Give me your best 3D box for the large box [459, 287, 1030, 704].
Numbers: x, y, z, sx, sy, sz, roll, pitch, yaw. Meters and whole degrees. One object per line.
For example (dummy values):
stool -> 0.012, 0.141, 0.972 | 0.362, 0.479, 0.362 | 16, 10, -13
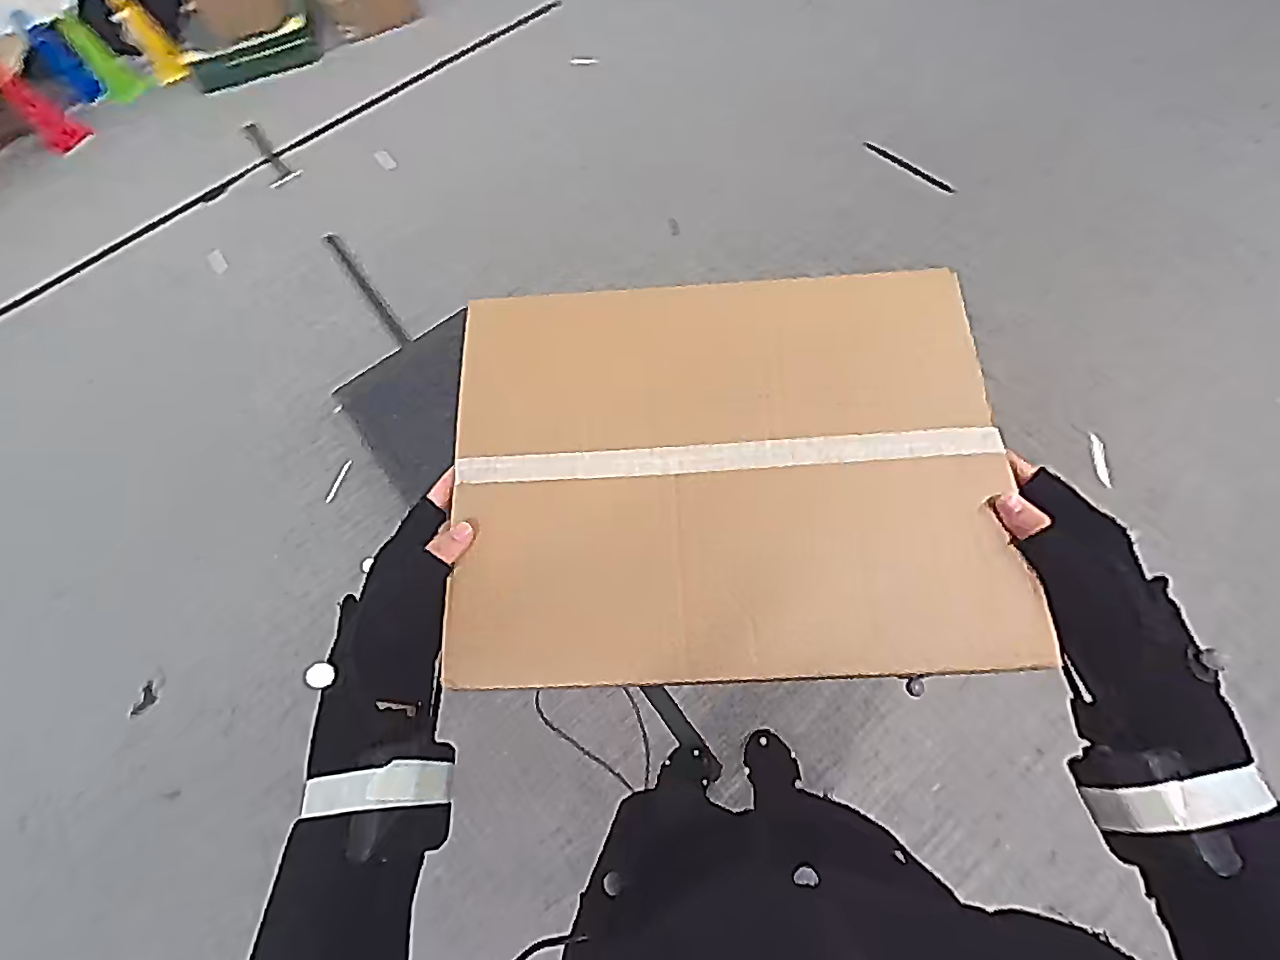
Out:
large box -> 0.070, 0.043, 0.561 | 0.408, 0.320, 0.320 | -4, 70, 2
